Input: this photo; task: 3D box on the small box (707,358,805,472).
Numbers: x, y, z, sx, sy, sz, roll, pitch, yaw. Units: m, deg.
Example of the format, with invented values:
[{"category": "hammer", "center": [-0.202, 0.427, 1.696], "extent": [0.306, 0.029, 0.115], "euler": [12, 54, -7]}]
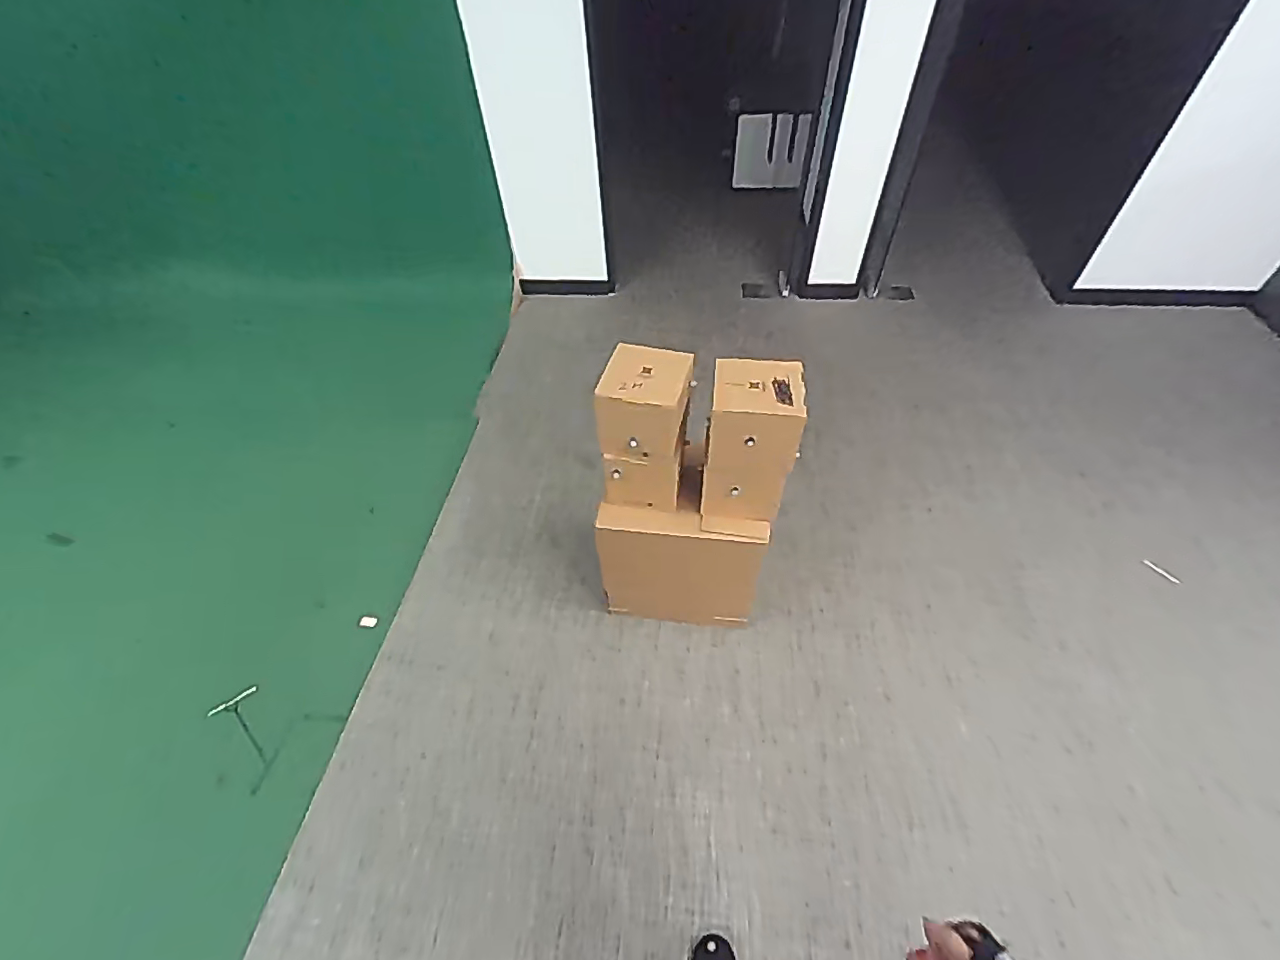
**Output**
[{"category": "small box", "center": [0.234, -0.131, 1.117], "extent": [0.179, 0.176, 0.168], "euler": [3, 50, 8]}]
